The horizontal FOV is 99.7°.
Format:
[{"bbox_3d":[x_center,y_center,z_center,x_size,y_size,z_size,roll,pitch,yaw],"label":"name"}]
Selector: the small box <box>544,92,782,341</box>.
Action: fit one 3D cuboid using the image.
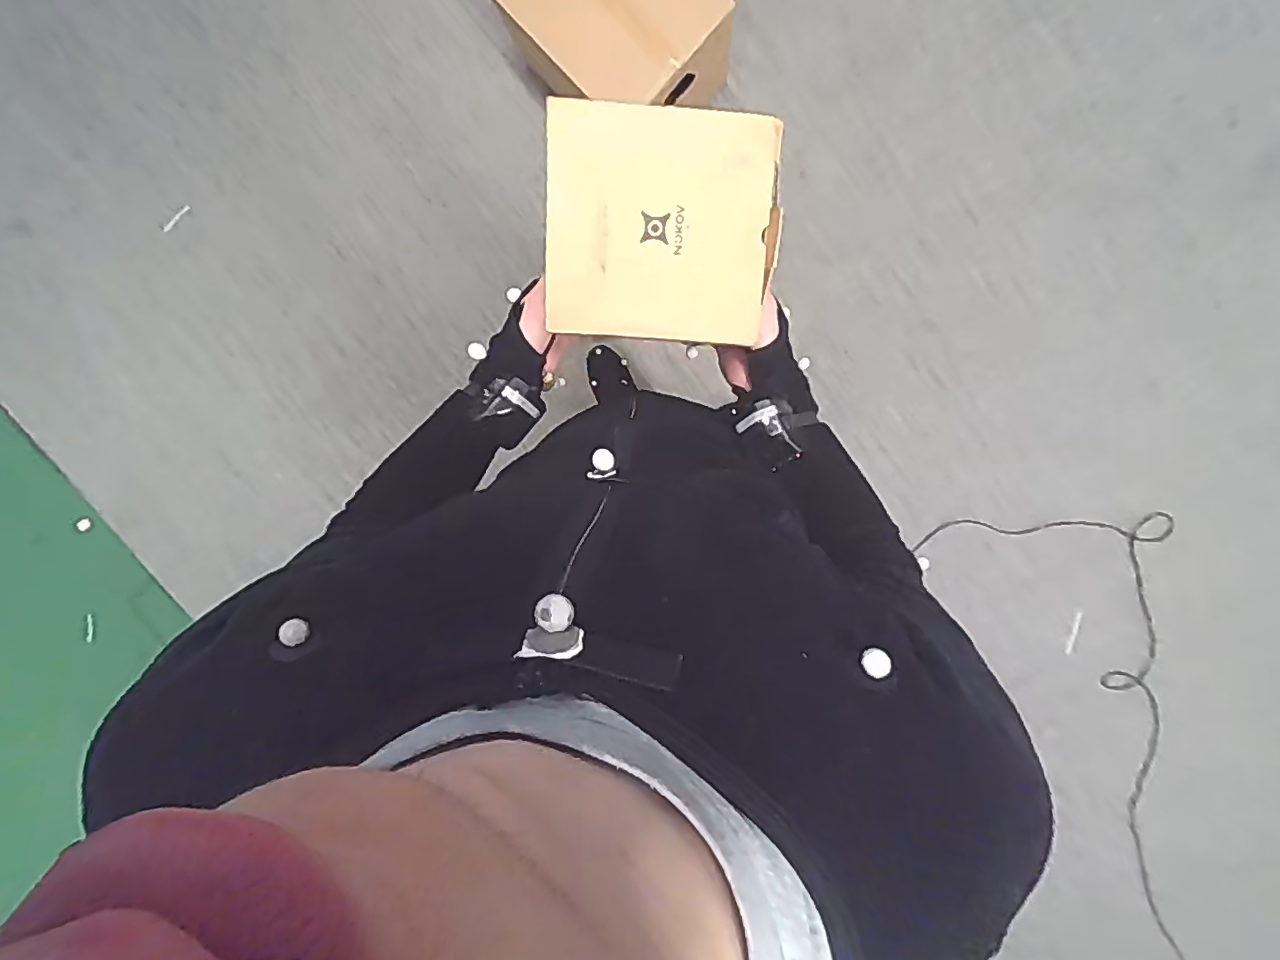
[{"bbox_3d":[0.011,-0.216,0.490,0.179,0.176,0.168,2,104,-2],"label":"small box"}]
